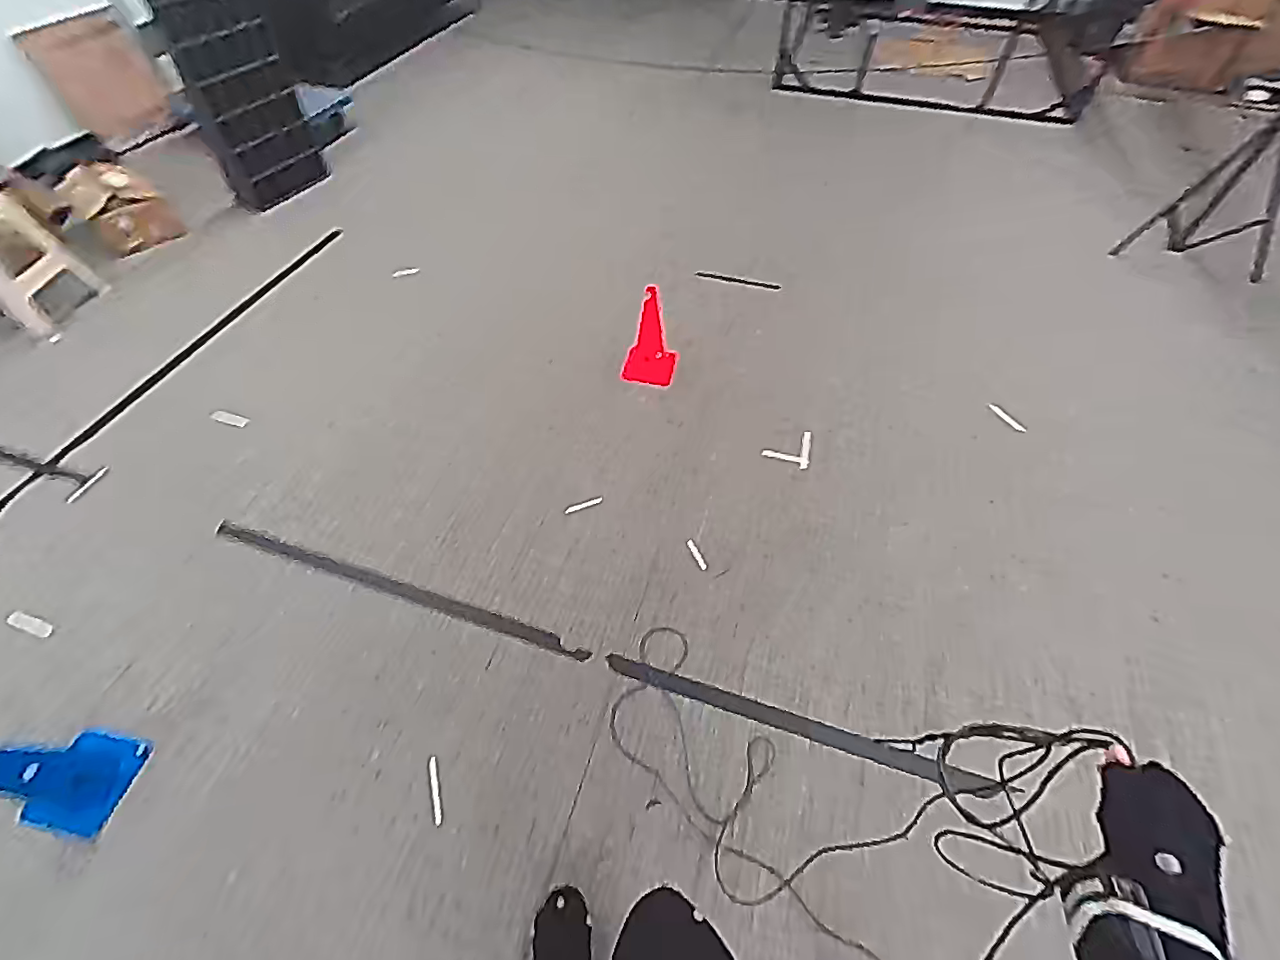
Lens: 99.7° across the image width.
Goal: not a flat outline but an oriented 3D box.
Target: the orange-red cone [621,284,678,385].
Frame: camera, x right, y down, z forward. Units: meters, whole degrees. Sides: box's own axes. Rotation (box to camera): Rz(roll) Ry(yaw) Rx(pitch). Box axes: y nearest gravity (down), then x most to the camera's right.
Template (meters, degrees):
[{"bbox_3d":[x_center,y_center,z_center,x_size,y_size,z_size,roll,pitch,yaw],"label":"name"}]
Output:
[{"bbox_3d":[0.037,-0.556,1.999,0.199,0.360,0.198,10,53,9],"label":"orange-red cone"}]

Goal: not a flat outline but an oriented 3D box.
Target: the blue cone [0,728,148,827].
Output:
[{"bbox_3d":[-1.291,0.593,1.133,0.193,0.380,0.192,10,54,8],"label":"blue cone"}]
